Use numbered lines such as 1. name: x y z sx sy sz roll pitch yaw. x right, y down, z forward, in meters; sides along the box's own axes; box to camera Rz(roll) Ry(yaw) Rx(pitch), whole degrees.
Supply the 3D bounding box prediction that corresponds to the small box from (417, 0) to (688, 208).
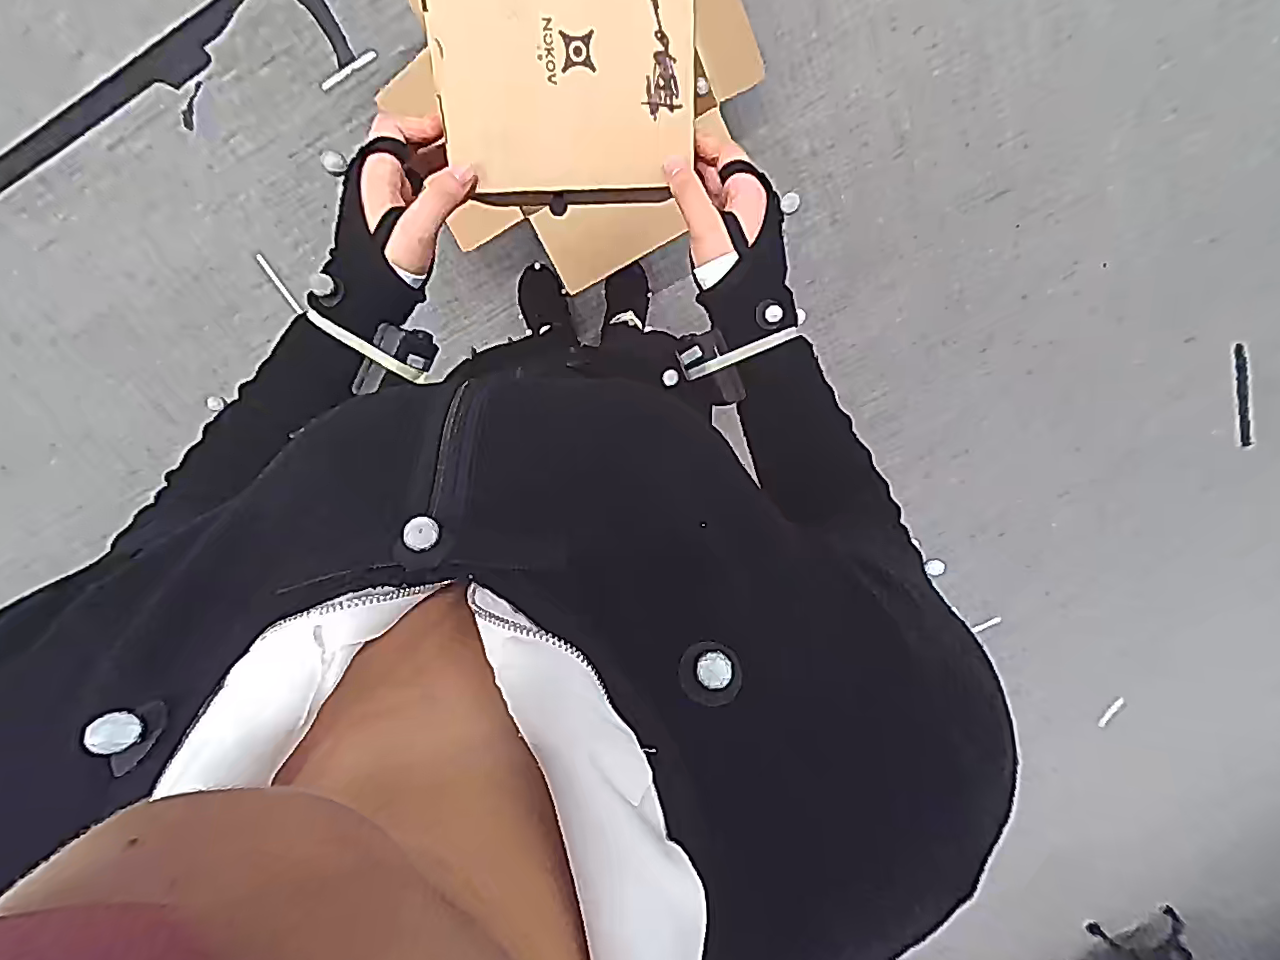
1. small box: -0.059 -0.317 0.433 0.179 0.176 0.168 -4 114 -3
